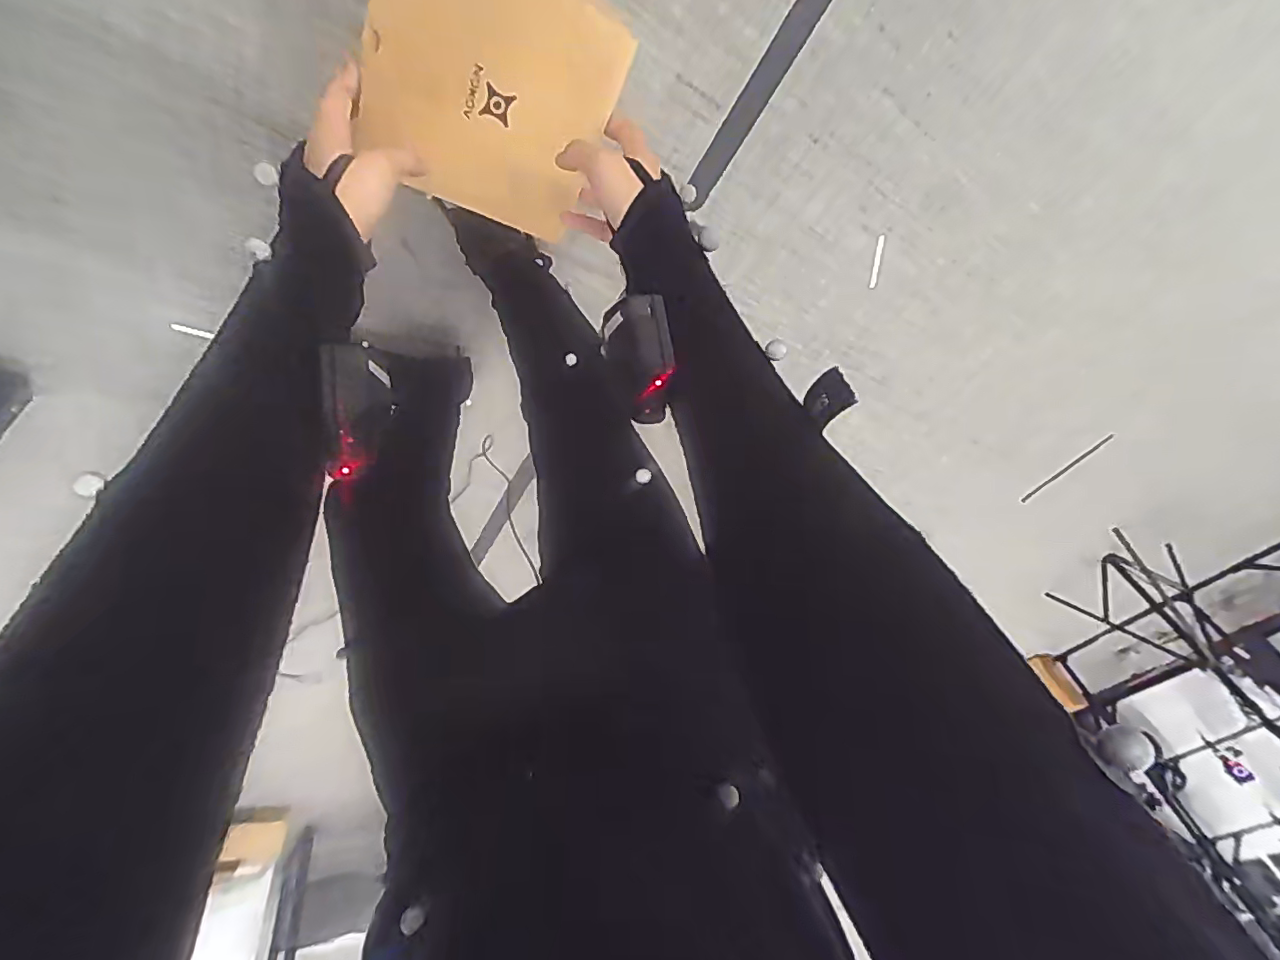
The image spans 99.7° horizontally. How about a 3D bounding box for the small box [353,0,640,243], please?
[{"bbox_3d":[-0.126,-0.340,0.458,0.179,0.176,0.168,11,131,-27],"label":"small box"}]
